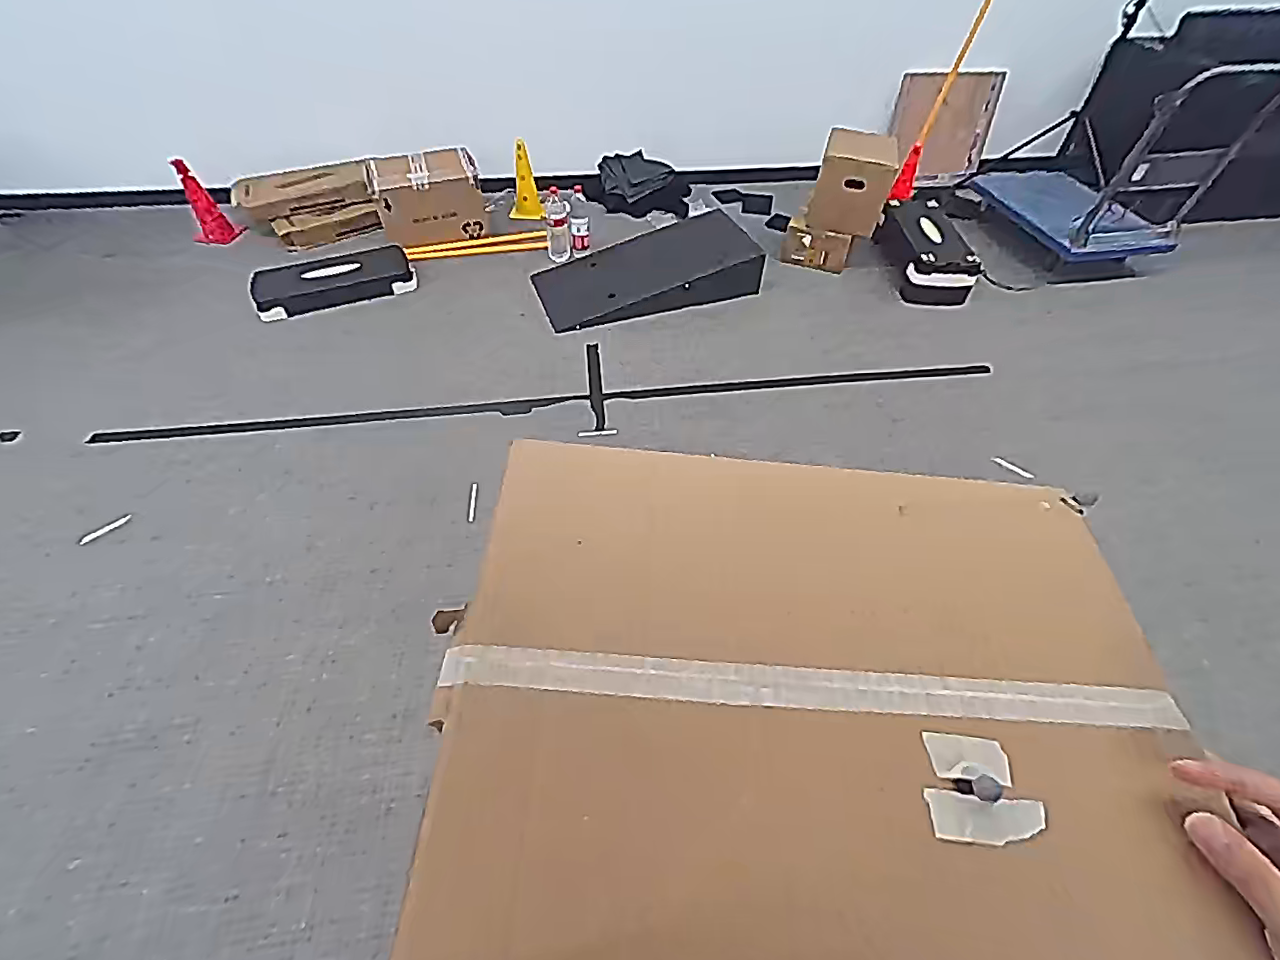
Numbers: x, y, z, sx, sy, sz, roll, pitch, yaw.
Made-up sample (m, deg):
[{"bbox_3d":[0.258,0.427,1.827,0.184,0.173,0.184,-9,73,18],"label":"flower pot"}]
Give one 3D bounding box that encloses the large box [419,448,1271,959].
[{"bbox_3d":[0.090,0.202,0.433,0.408,0.320,0.320,6,56,-3],"label":"large box"}]
